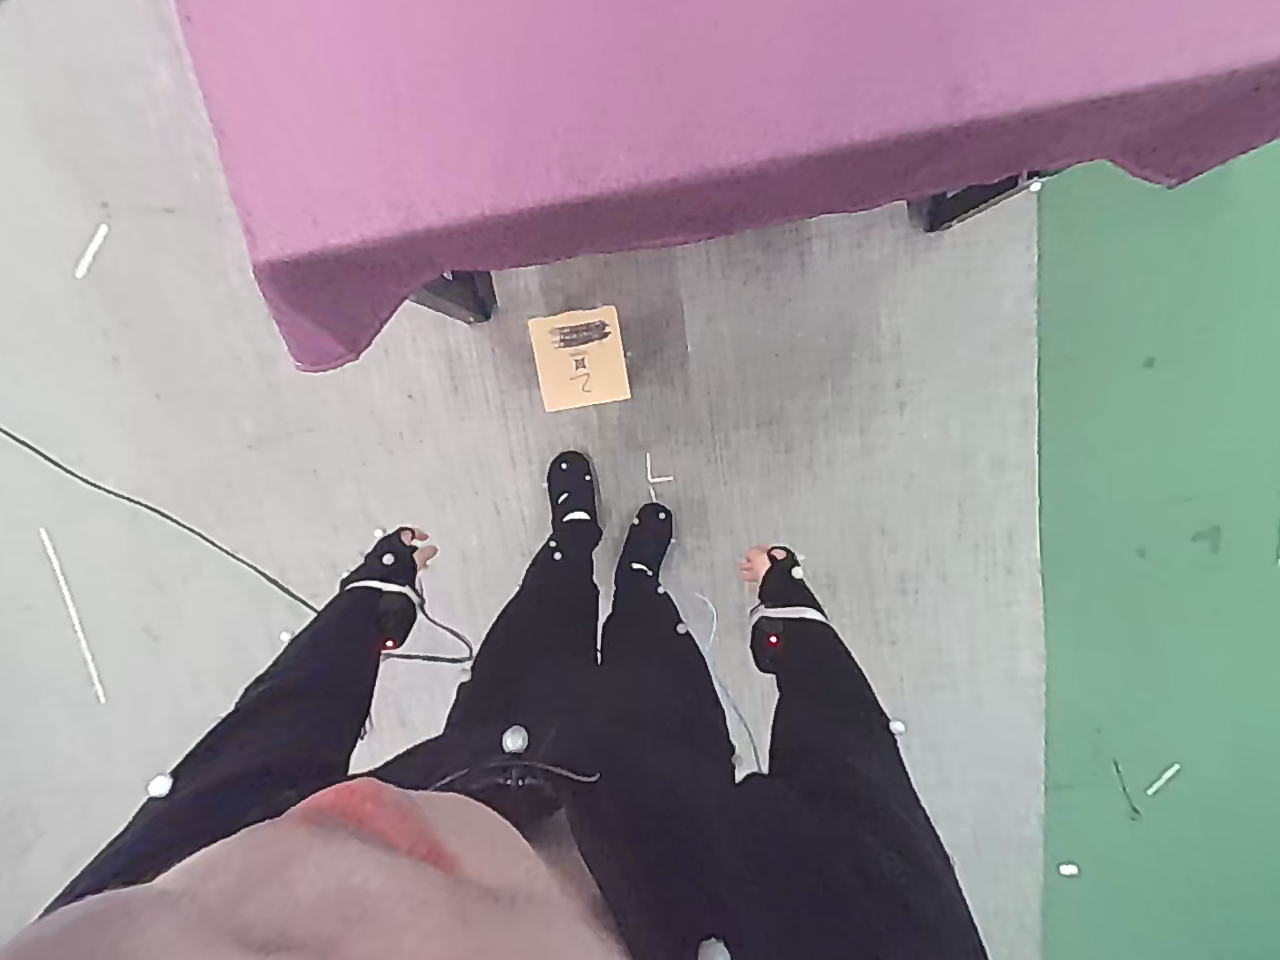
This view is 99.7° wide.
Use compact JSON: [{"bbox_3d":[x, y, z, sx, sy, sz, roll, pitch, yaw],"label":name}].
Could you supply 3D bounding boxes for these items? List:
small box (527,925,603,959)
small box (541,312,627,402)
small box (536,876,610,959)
[{"bbox_3d":[-0.185,1.262,1.347,0.179,0.176,0.168,-16,99,3],"label":"small box"},{"bbox_3d":[-0.123,-0.281,1.252,0.168,0.176,0.179,-8,100,1],"label":"small box"},{"bbox_3d":[-0.181,1.251,1.510,0.179,0.176,0.168,-11,99,2],"label":"small box"}]
